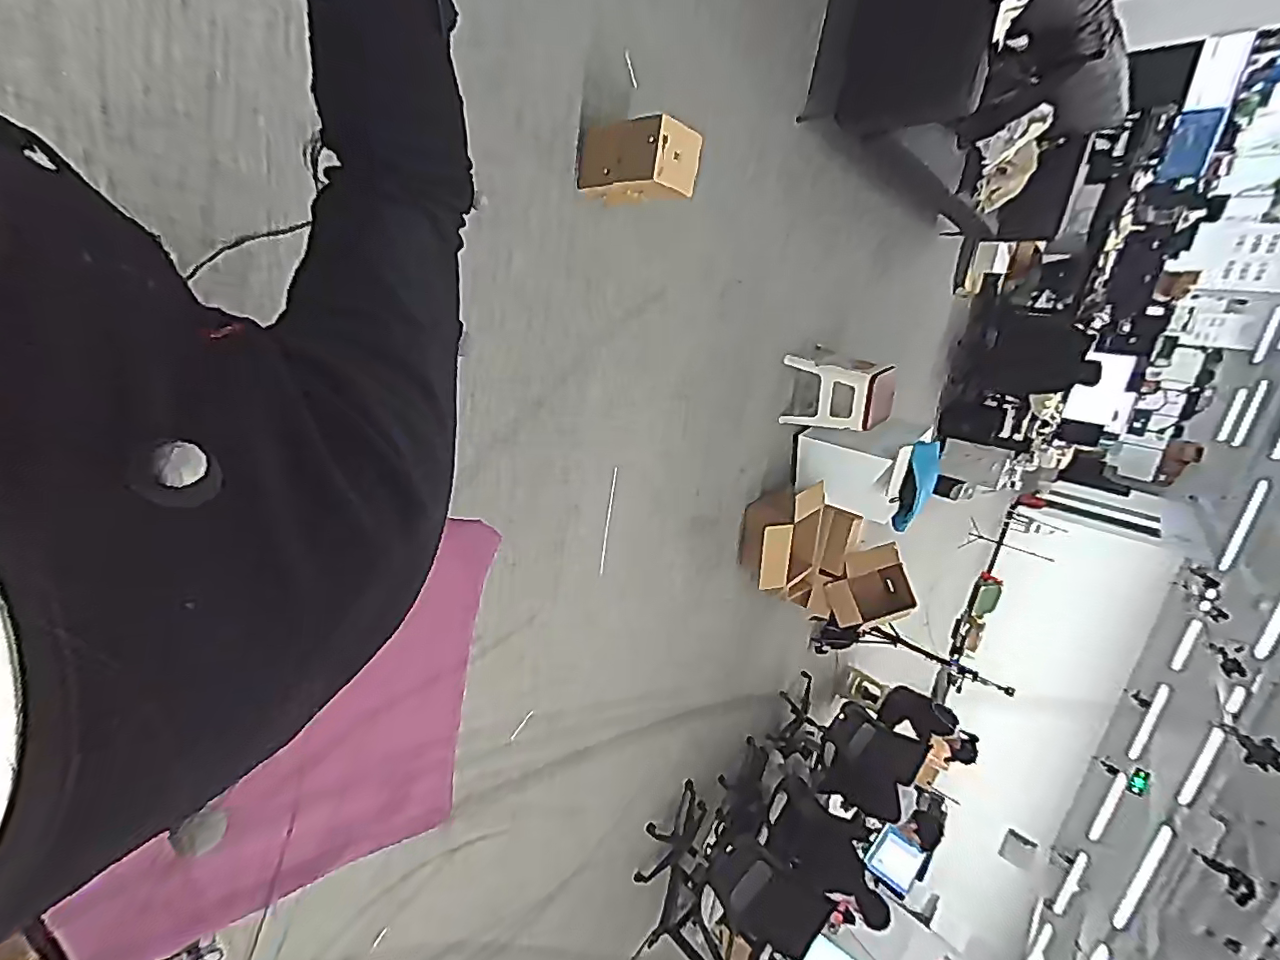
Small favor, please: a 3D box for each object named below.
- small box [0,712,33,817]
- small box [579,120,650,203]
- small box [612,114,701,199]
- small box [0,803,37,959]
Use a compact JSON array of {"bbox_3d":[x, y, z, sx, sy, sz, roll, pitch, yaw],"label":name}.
[{"bbox_3d":[-0.671,0.348,0.483,0.168,0.176,0.179,1,106,-49],"label":"small box"},{"bbox_3d":[-0.069,-0.977,1.672,0.168,0.176,0.179,-6,112,-46],"label":"small box"},{"bbox_3d":[0.047,-0.929,1.566,0.179,0.176,0.168,-6,112,-47],"label":"small box"},{"bbox_3d":[-0.548,0.381,0.379,0.168,0.176,0.179,-1,108,-49],"label":"small box"}]
